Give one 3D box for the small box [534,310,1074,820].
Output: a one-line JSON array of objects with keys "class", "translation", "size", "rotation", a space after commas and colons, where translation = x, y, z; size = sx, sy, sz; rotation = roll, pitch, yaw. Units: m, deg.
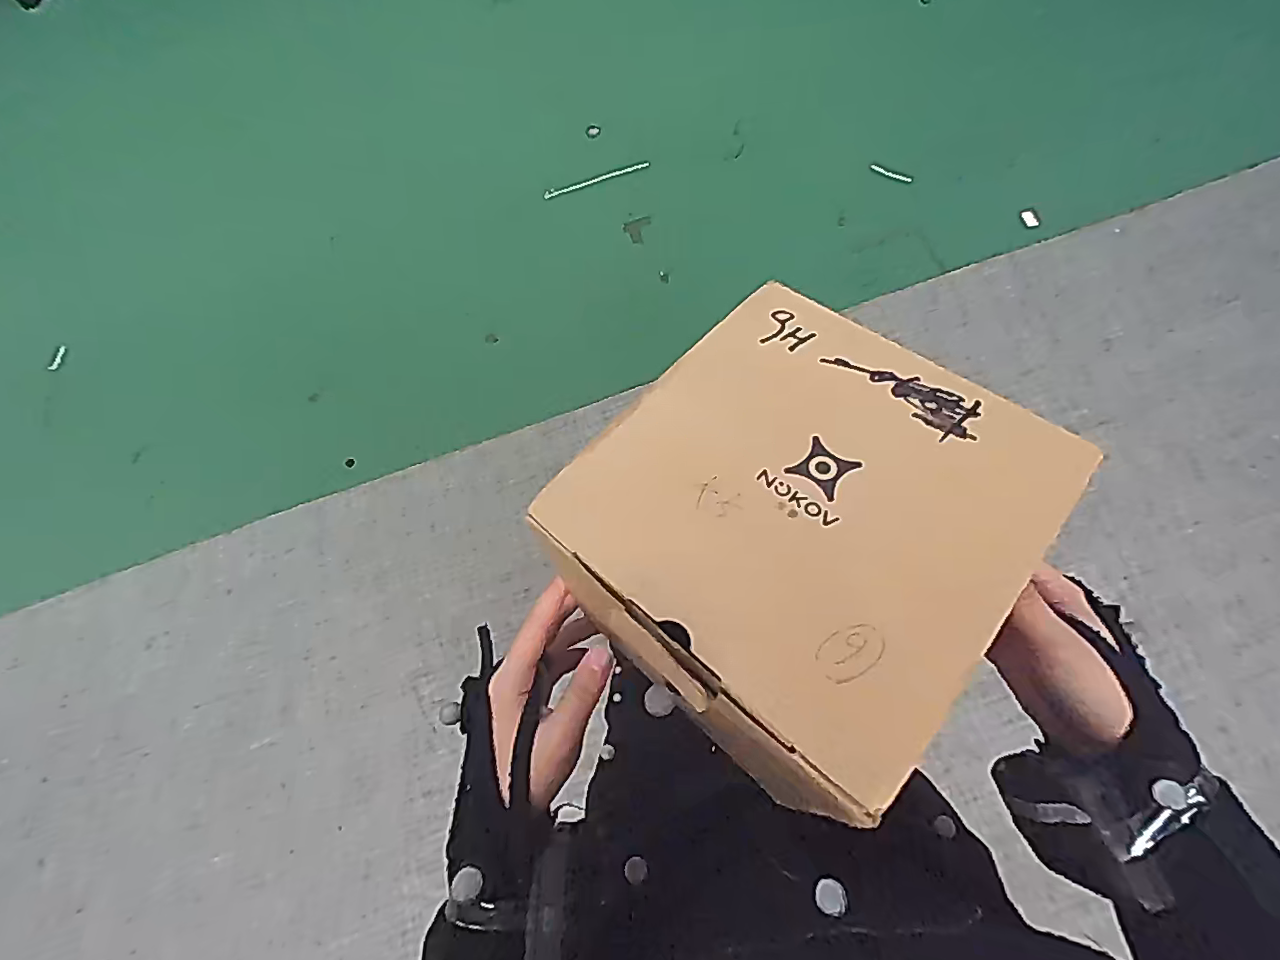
[{"class": "small box", "translation": [0.075, 0.050, 0.302], "size": [0.168, 0.176, 0.179], "rotation": [37, 70, 22]}]
